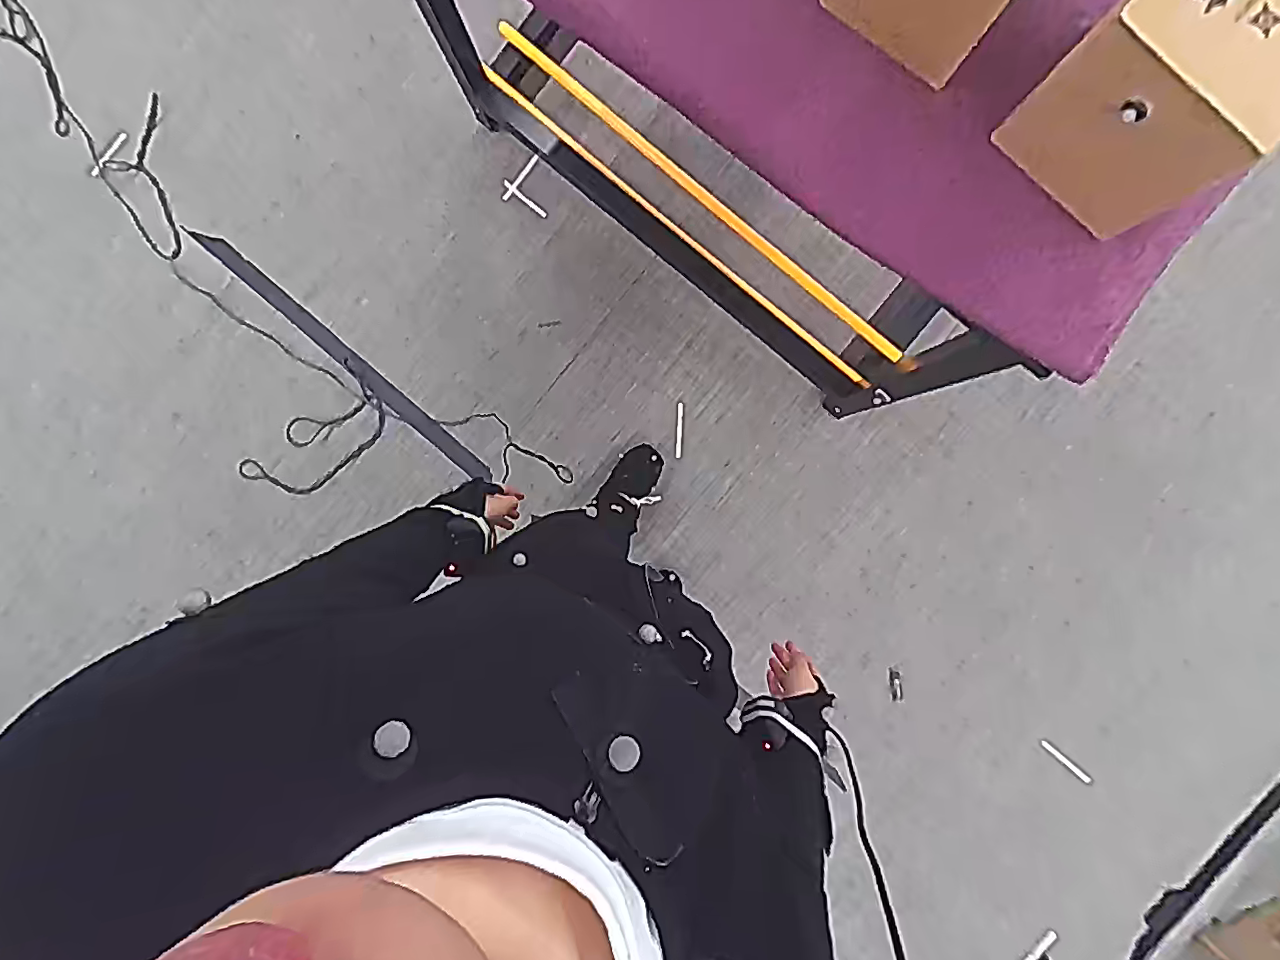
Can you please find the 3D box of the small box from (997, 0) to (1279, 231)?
[{"bbox_3d":[0.511,-0.389,0.534,0.179,0.176,0.168,43,91,0],"label":"small box"}]

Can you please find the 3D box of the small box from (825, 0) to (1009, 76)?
[{"bbox_3d":[0.321,-0.560,0.540,0.179,0.176,0.168,37,92,1],"label":"small box"}]
